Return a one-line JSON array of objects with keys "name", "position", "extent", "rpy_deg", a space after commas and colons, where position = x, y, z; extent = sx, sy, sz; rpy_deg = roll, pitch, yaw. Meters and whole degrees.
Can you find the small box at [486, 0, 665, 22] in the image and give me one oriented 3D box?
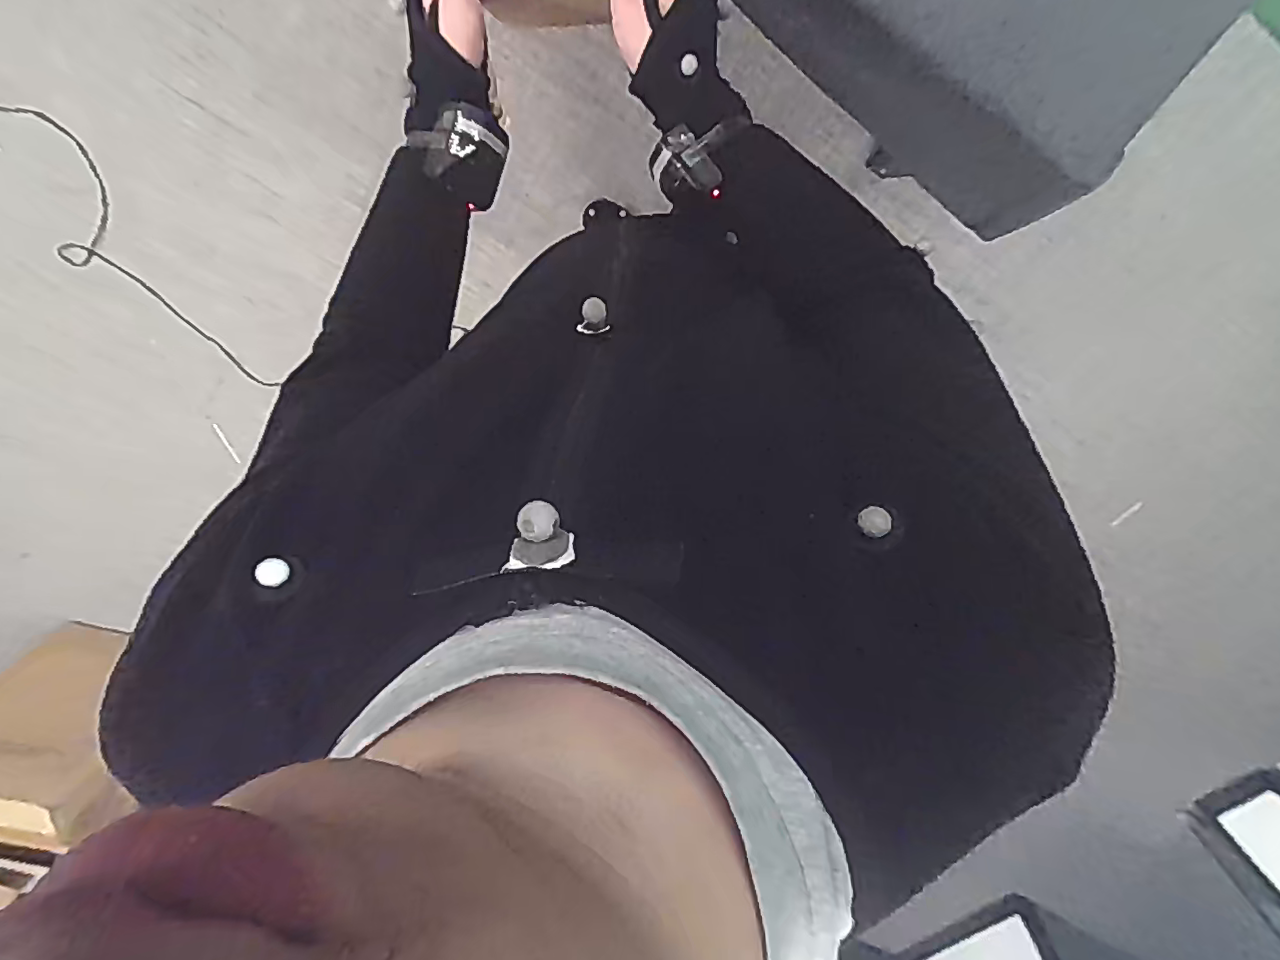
[{"name": "small box", "position": [-0.057, -0.498, 0.436], "extent": [0.179, 0.176, 0.168], "rpy_deg": [-1, 117, 3]}]
